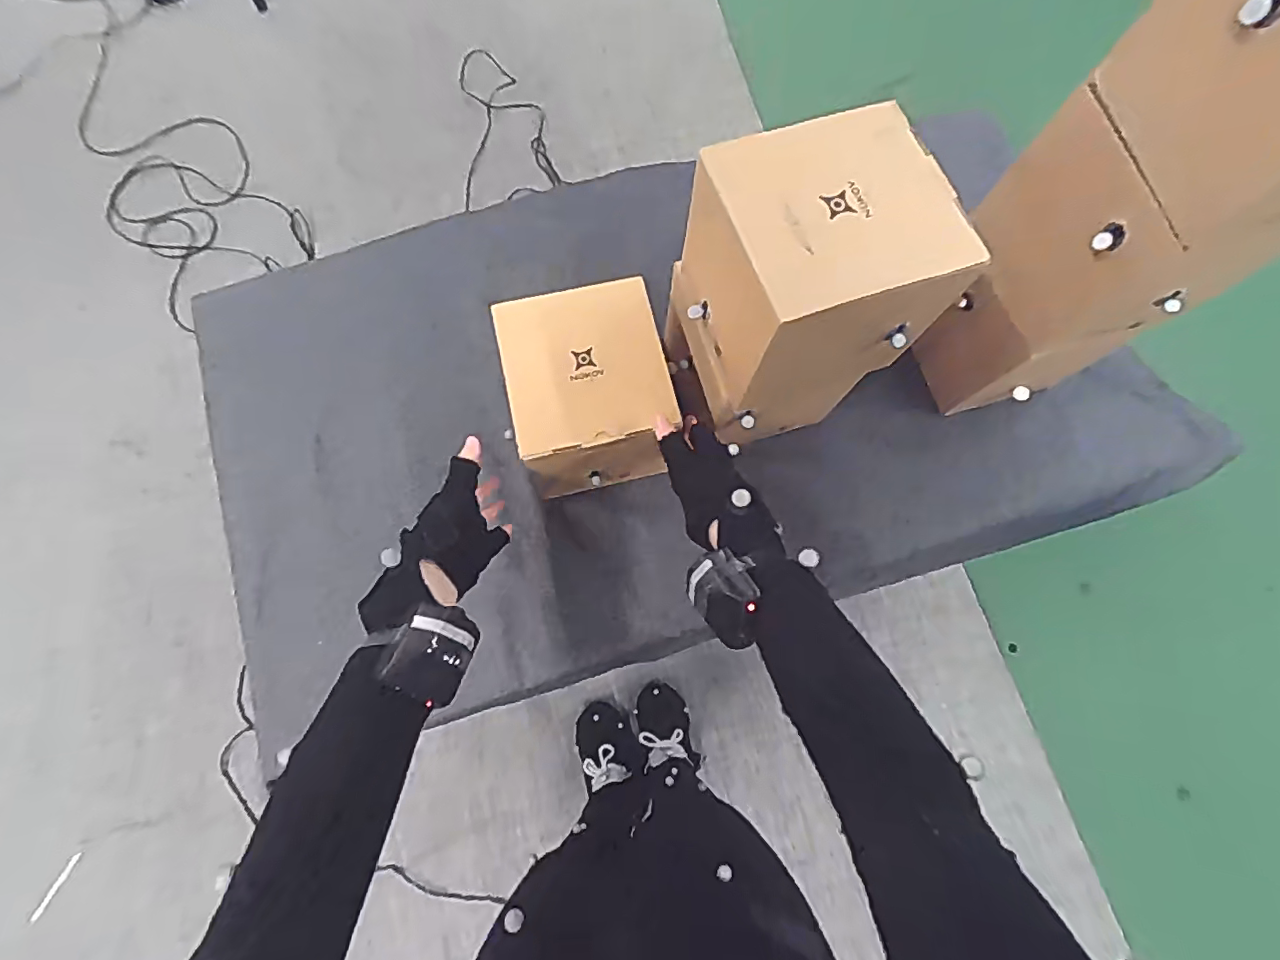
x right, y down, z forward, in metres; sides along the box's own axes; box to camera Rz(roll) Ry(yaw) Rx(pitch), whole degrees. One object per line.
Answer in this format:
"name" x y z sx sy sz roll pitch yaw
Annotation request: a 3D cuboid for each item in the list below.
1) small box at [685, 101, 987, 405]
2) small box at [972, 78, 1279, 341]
"small box" 0.154 -0.191 0.493 0.179 0.176 0.168 -18 75 -6
"small box" 0.468 -0.252 0.518 0.168 0.176 0.179 -13 75 -5
